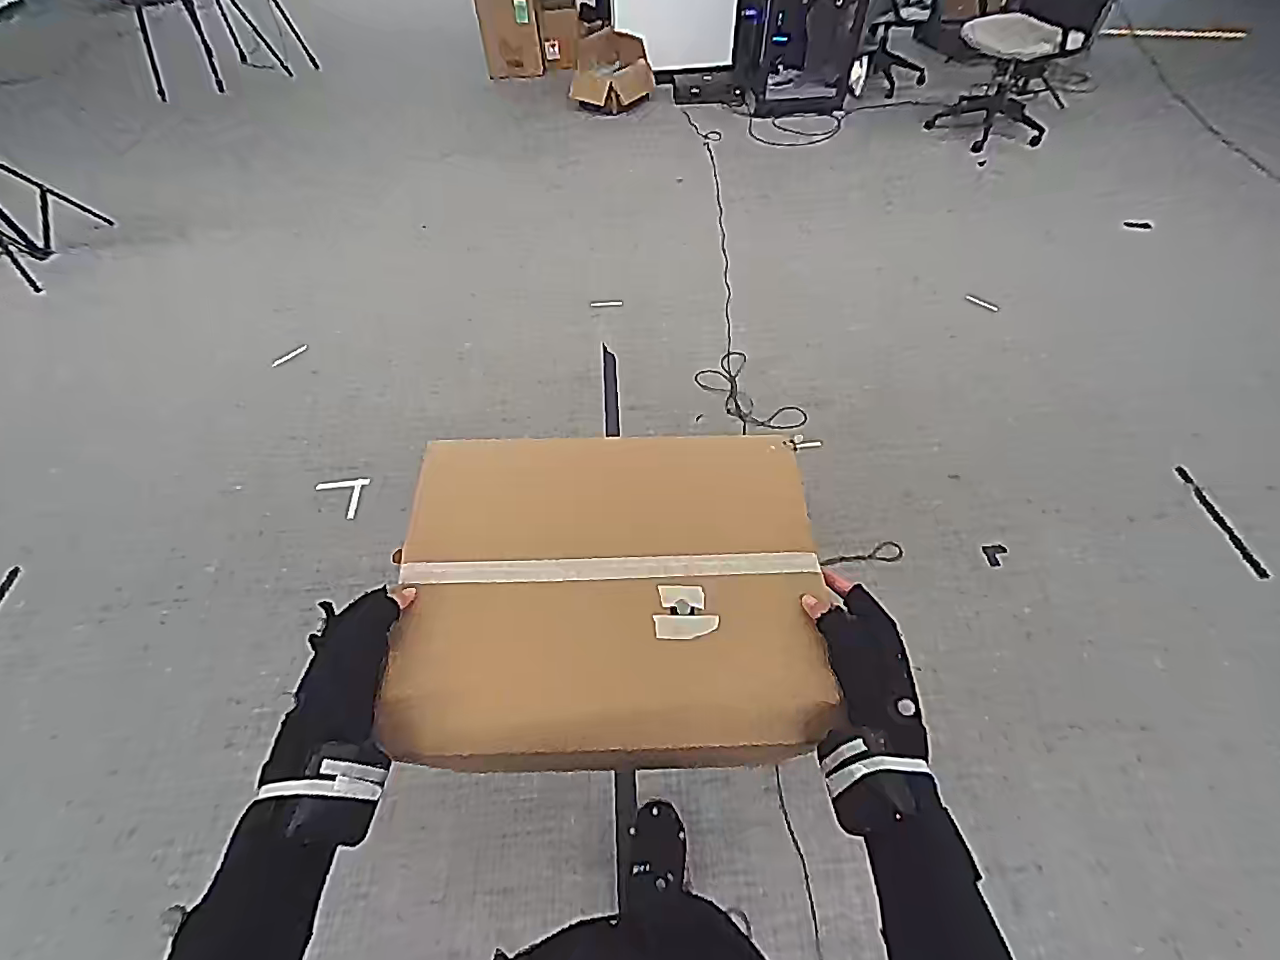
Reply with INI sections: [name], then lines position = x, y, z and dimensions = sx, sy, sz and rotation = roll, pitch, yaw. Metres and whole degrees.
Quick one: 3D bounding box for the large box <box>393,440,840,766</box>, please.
[large box]
position = -0.029, 0.166, 0.675
dimensions = 0.408, 0.320, 0.320
rotation = -1, 60, -2
